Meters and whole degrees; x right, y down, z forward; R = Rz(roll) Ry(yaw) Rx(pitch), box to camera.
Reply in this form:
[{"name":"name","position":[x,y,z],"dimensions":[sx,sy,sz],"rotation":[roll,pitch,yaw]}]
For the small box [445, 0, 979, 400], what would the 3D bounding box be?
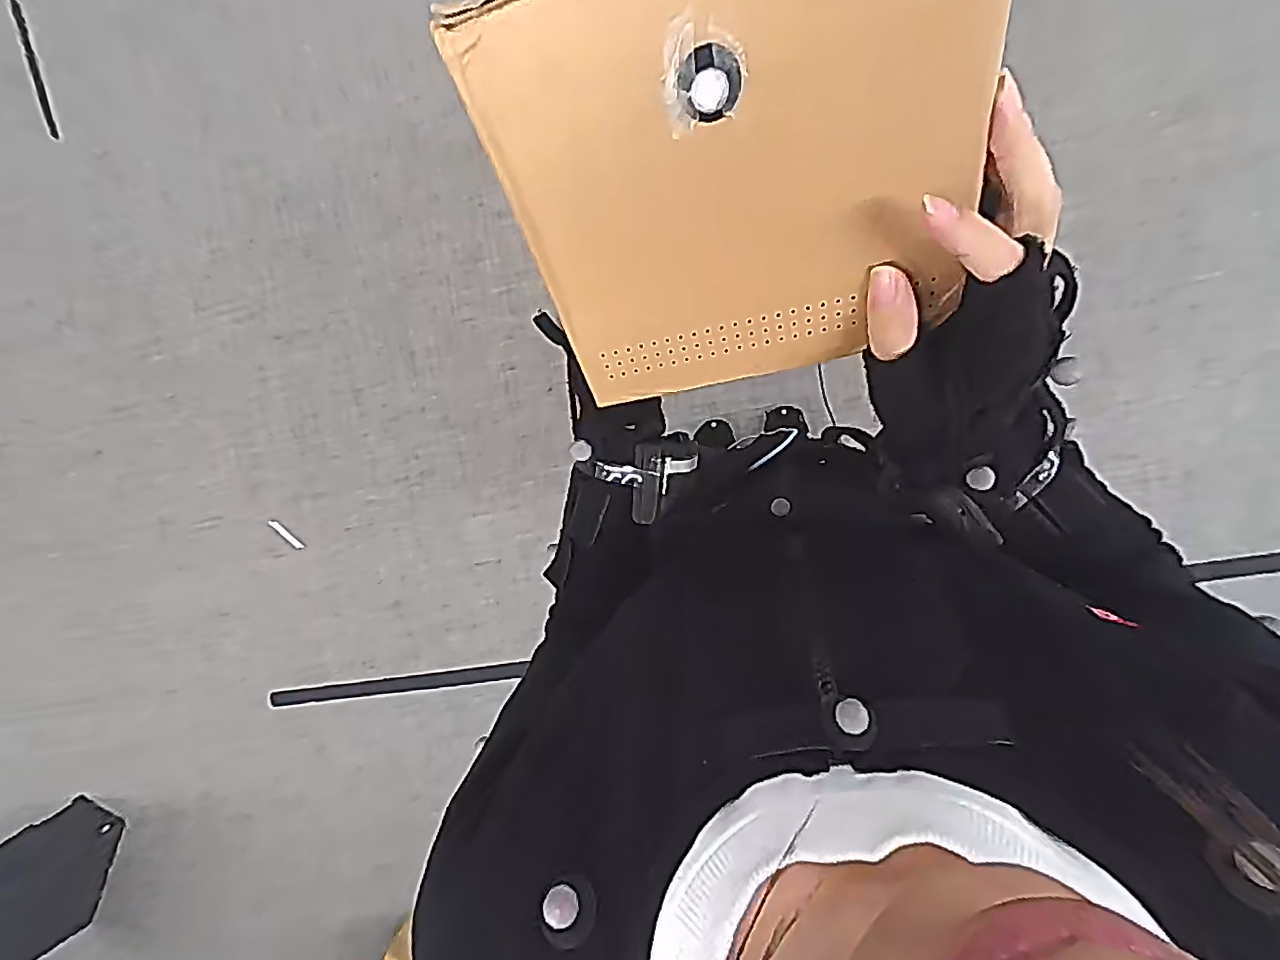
[{"name":"small box","position":[0.044,-0.160,0.267],"dimensions":[0.179,0.168,0.176],"rotation":[-9,137,13]}]
